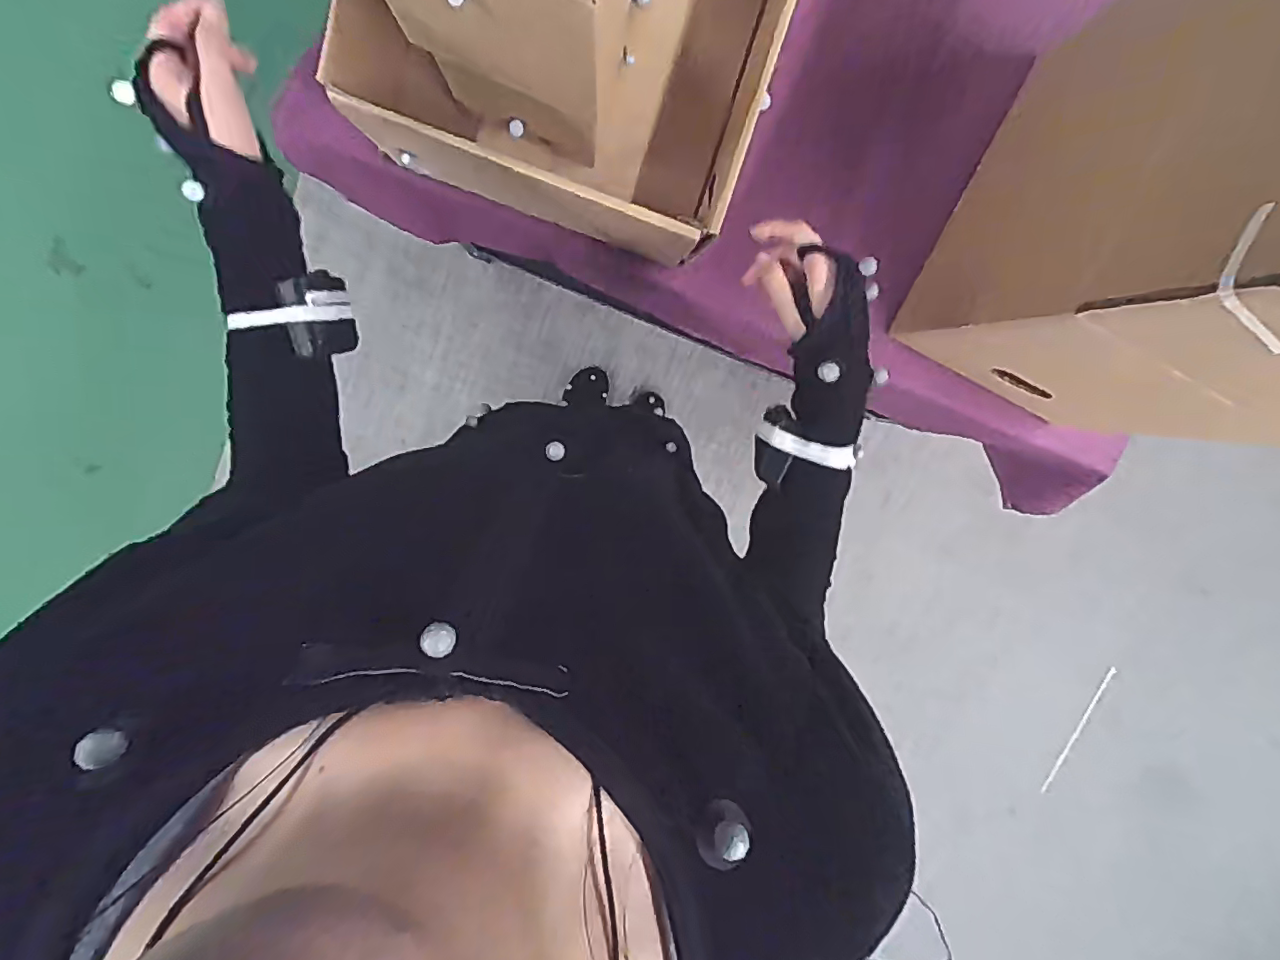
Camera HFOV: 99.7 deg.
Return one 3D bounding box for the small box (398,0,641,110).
[{"bbox_3d":[-0.085,-0.410,0.386,0.179,0.176,0.168,20,100,-8],"label":"small box"}]
